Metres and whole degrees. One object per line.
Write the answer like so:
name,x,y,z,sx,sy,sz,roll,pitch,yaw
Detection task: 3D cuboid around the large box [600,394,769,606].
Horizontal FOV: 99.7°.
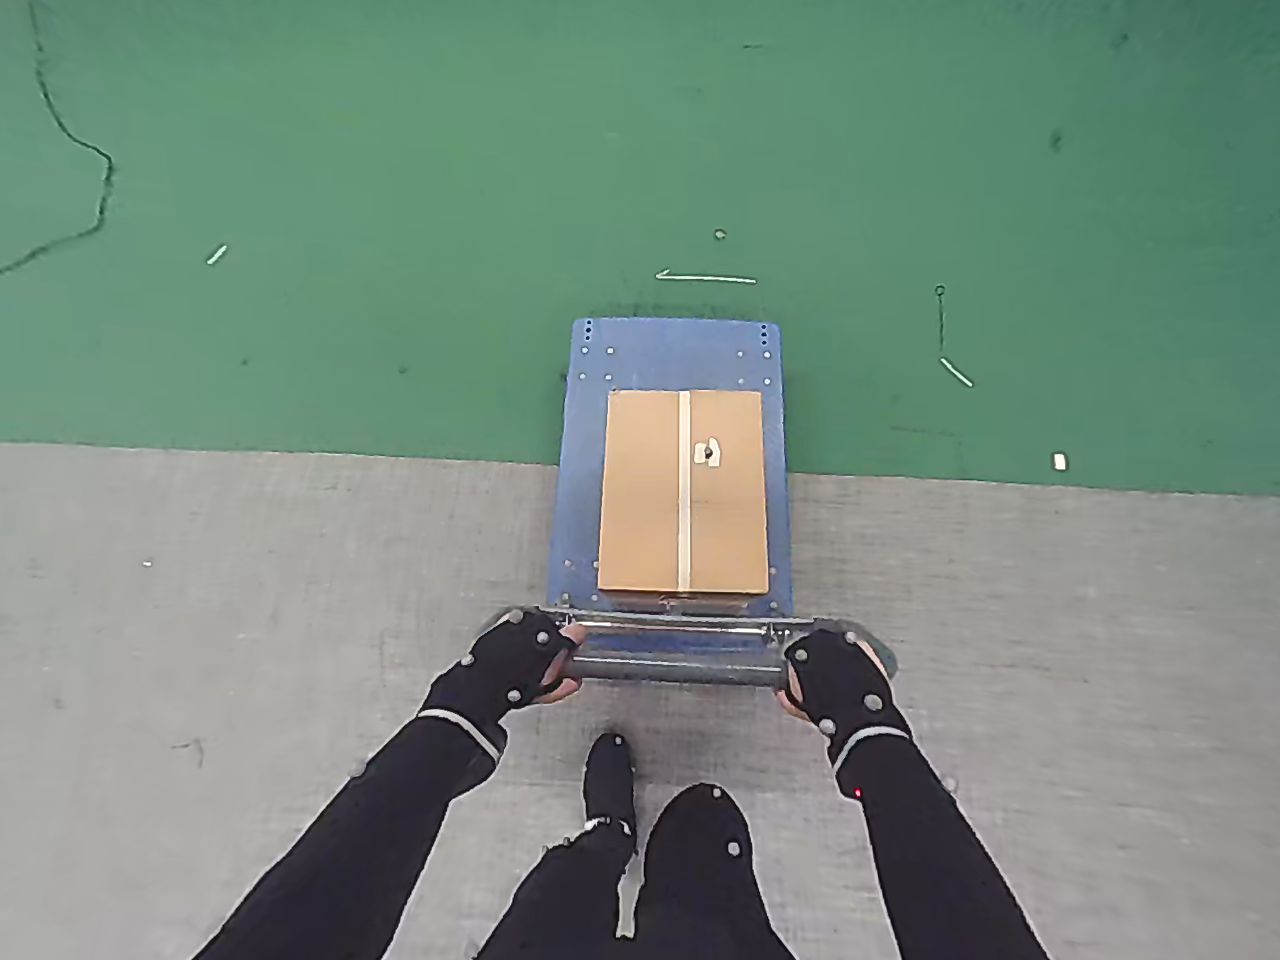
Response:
large box,0.091,0.062,1.186,0.320,0.320,0.408,1,72,2
